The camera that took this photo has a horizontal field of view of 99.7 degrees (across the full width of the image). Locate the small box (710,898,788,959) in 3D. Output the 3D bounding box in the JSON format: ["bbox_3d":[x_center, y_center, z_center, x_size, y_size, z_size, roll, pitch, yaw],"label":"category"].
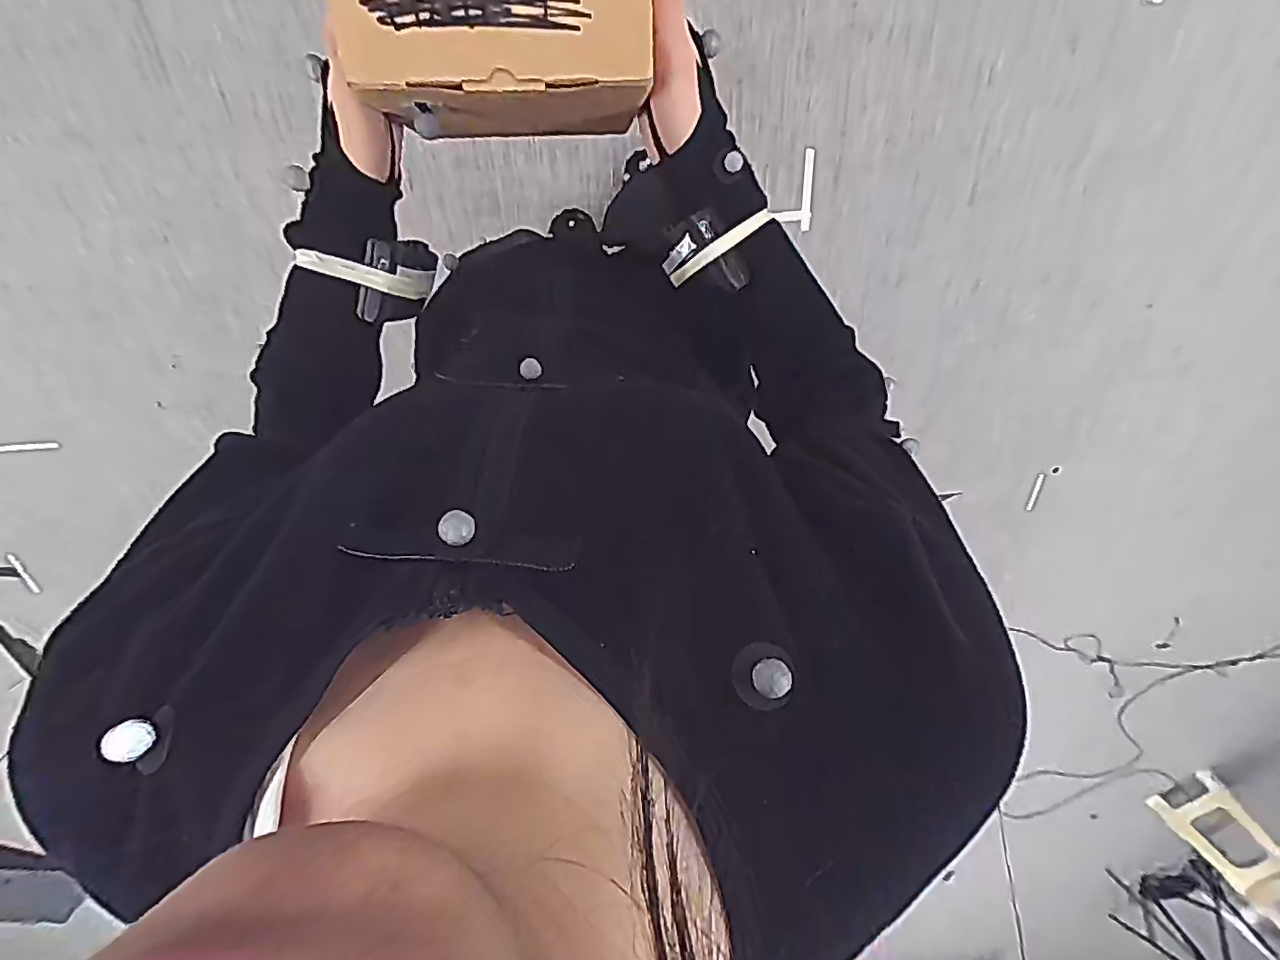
[{"bbox_3d":[0.281,1.240,1.420,0.179,0.176,0.168,-7,122,-3],"label":"small box"}]
